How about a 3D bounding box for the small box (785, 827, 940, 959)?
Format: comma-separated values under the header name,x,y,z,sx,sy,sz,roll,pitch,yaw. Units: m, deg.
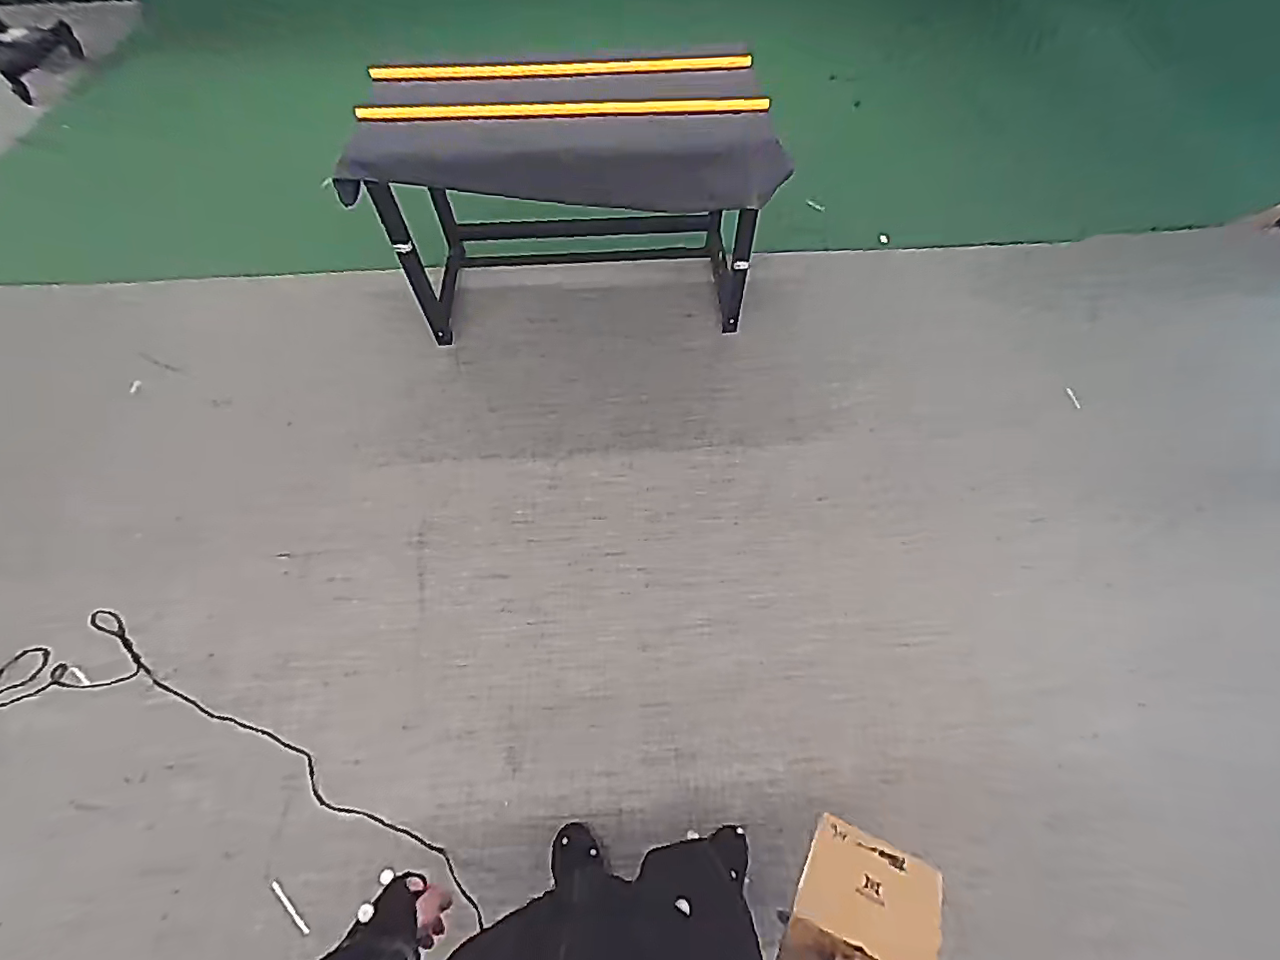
name,x,y,z,sx,sy,sz,roll,pitch,yaw
small box,0.291,0.629,0.721,0.168,0.176,0.179,13,17,26
